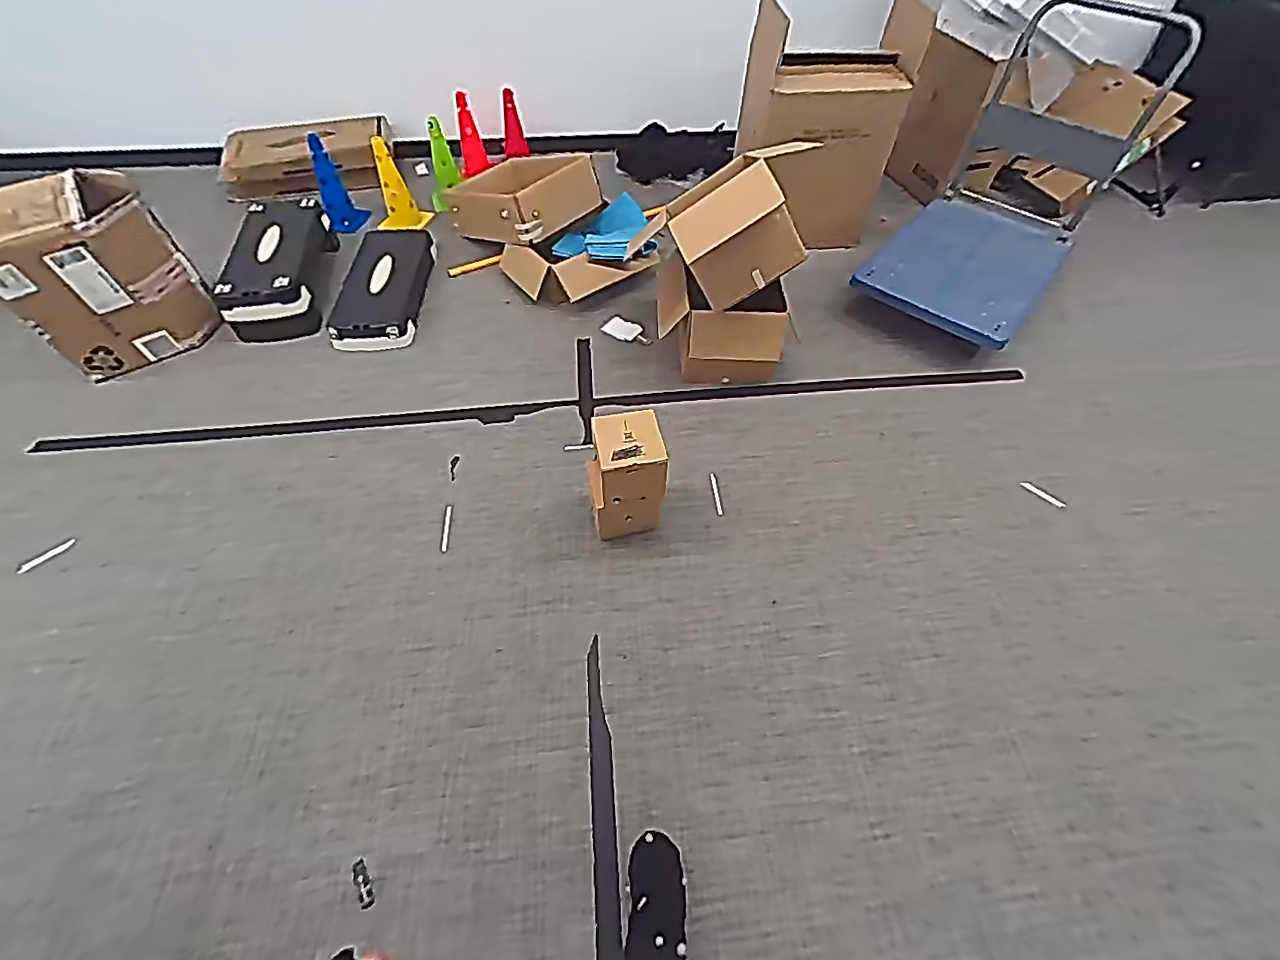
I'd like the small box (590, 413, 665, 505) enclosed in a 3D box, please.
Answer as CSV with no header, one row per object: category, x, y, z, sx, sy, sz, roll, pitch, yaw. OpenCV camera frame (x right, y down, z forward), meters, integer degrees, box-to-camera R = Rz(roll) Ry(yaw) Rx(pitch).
small box,-0.033,-0.048,1.411,0.168,0.176,0.179,-9,54,-8
